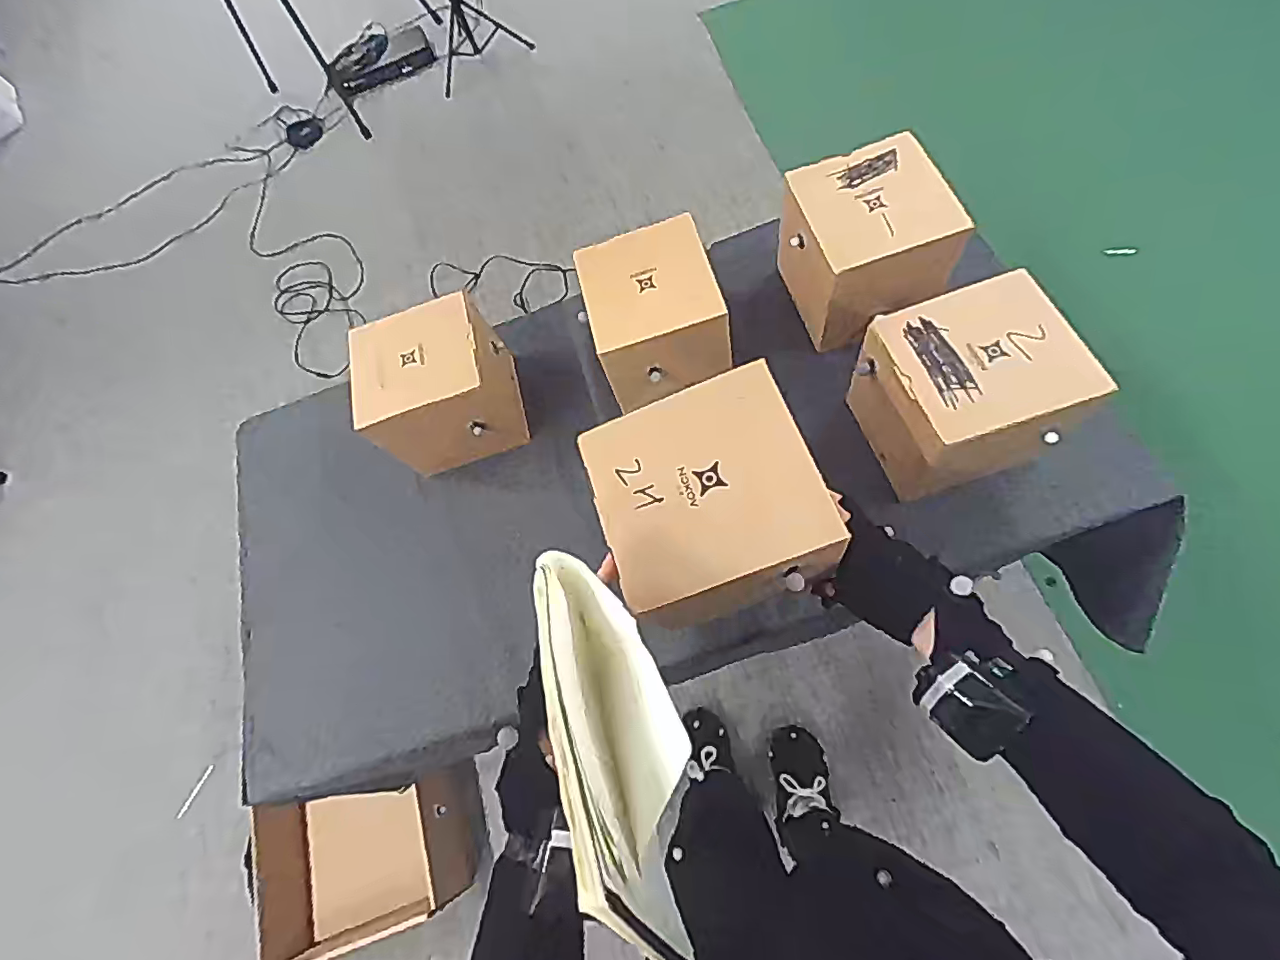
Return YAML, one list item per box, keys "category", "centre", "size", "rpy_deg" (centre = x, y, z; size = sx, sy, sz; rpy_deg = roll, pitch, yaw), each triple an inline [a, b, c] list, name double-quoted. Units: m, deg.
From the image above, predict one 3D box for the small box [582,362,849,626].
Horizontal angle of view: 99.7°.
- category: "small box"
  centre: [0.071, 0.027, 0.506]
  size: [0.179, 0.176, 0.168]
  rpy_deg: [-22, 66, 8]

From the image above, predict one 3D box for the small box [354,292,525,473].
- category: "small box"
  centre: [-0.278, -0.131, 0.780]
  size: [0.179, 0.176, 0.168]
  rpy_deg: [-17, 66, 3]

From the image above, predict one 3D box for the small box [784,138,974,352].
- category: "small box"
  centre: [0.301, -0.307, 0.731]
  size: [0.168, 0.176, 0.179]
  rpy_deg: [-17, 67, 5]

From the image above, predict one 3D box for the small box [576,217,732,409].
- category: "small box"
  centre: [0.026, -0.217, 0.755]
  size: [0.168, 0.176, 0.179]
  rpy_deg: [-17, 66, 5]
